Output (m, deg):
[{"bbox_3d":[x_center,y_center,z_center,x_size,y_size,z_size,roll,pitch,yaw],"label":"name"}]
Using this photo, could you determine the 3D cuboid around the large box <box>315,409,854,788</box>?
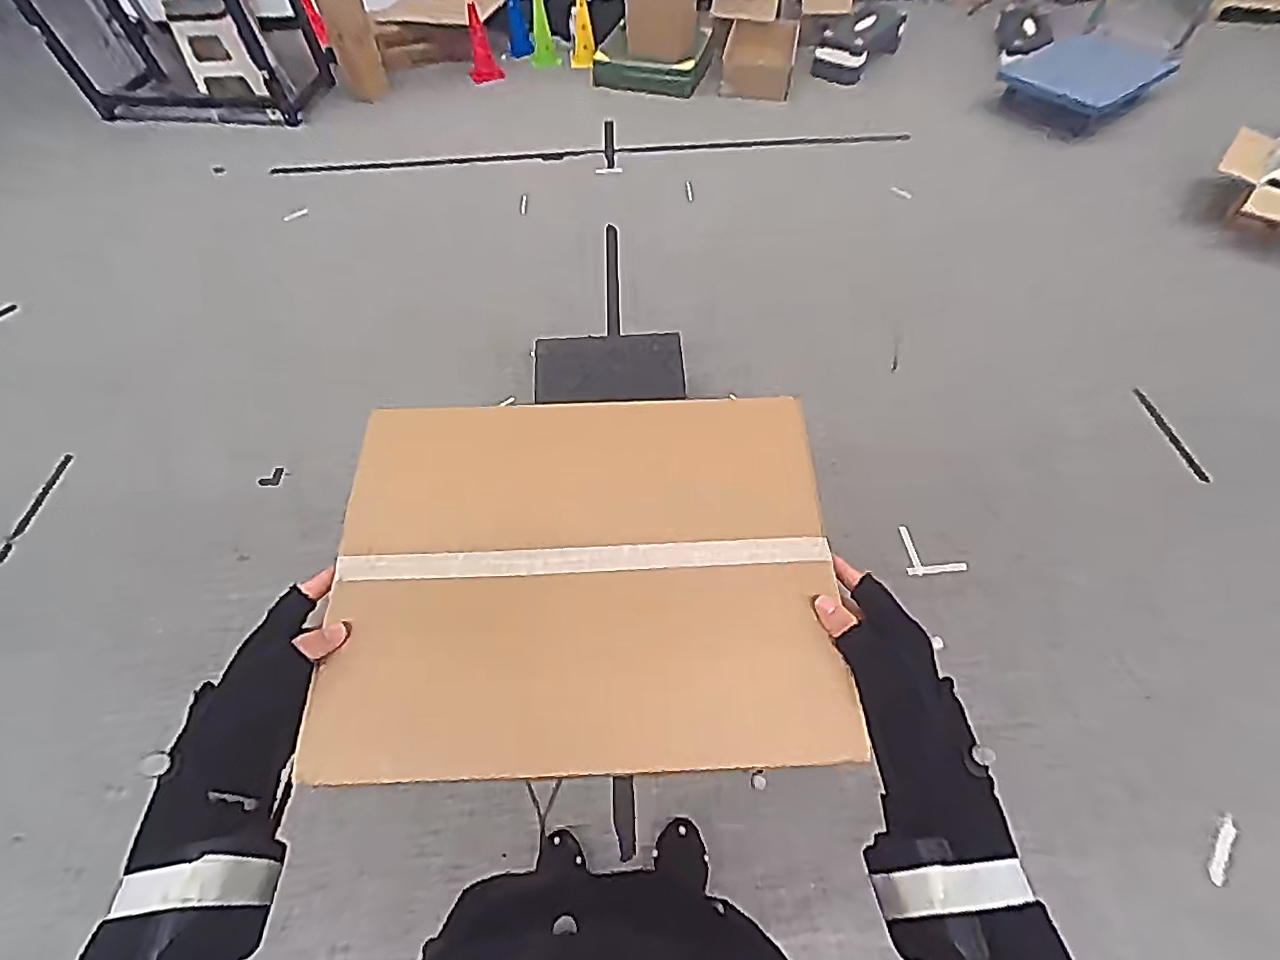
[{"bbox_3d":[-0.044,0.141,0.592,0.408,0.320,0.320,-2,62,-1],"label":"large box"}]
